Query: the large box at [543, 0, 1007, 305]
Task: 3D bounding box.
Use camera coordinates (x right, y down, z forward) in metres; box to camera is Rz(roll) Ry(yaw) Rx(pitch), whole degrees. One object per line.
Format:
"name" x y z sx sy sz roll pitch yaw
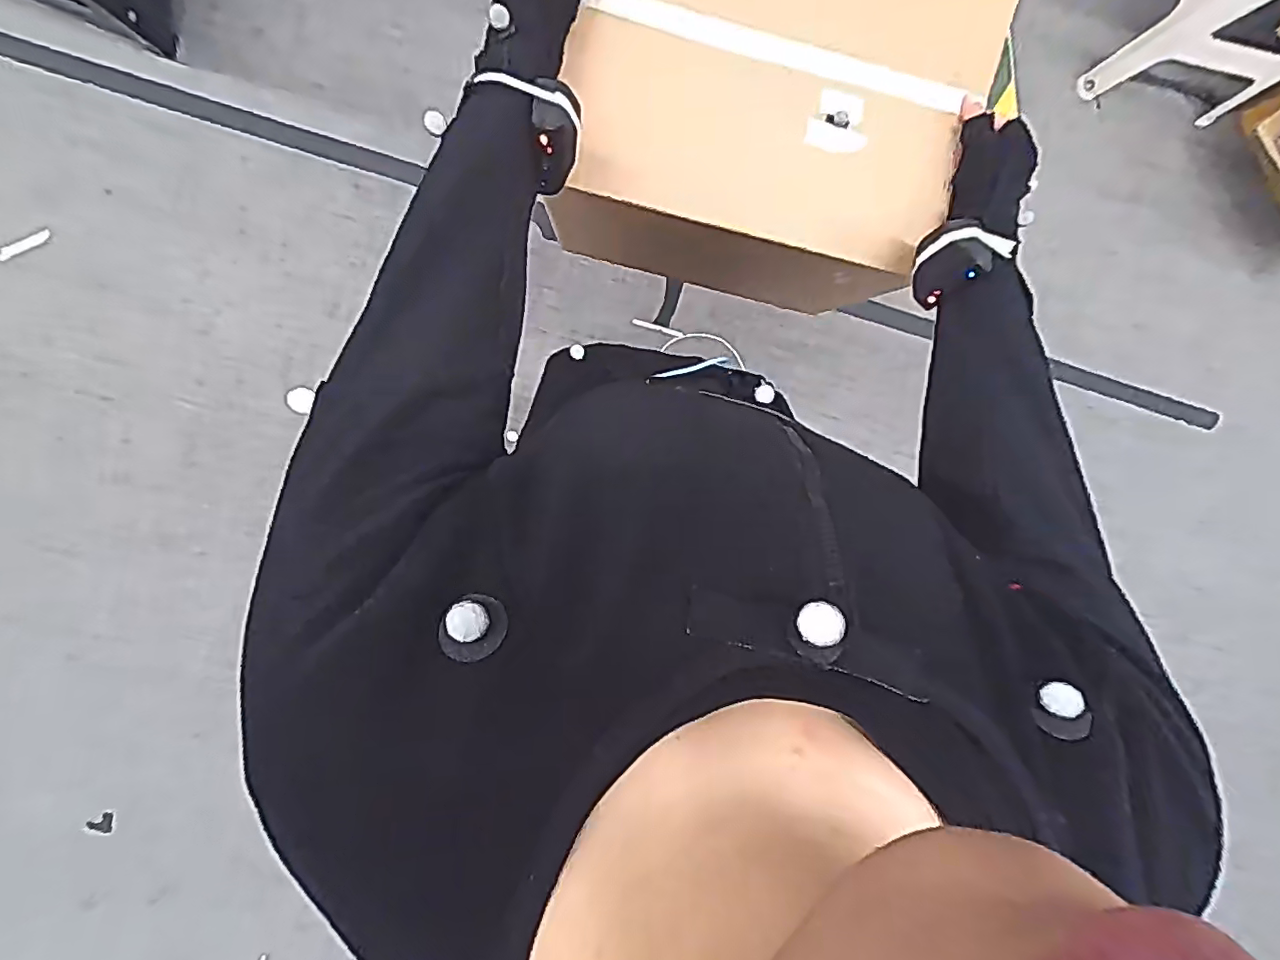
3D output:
"large box" 0.120 -0.426 0.651 0.408 0.320 0.320 13 101 -6
